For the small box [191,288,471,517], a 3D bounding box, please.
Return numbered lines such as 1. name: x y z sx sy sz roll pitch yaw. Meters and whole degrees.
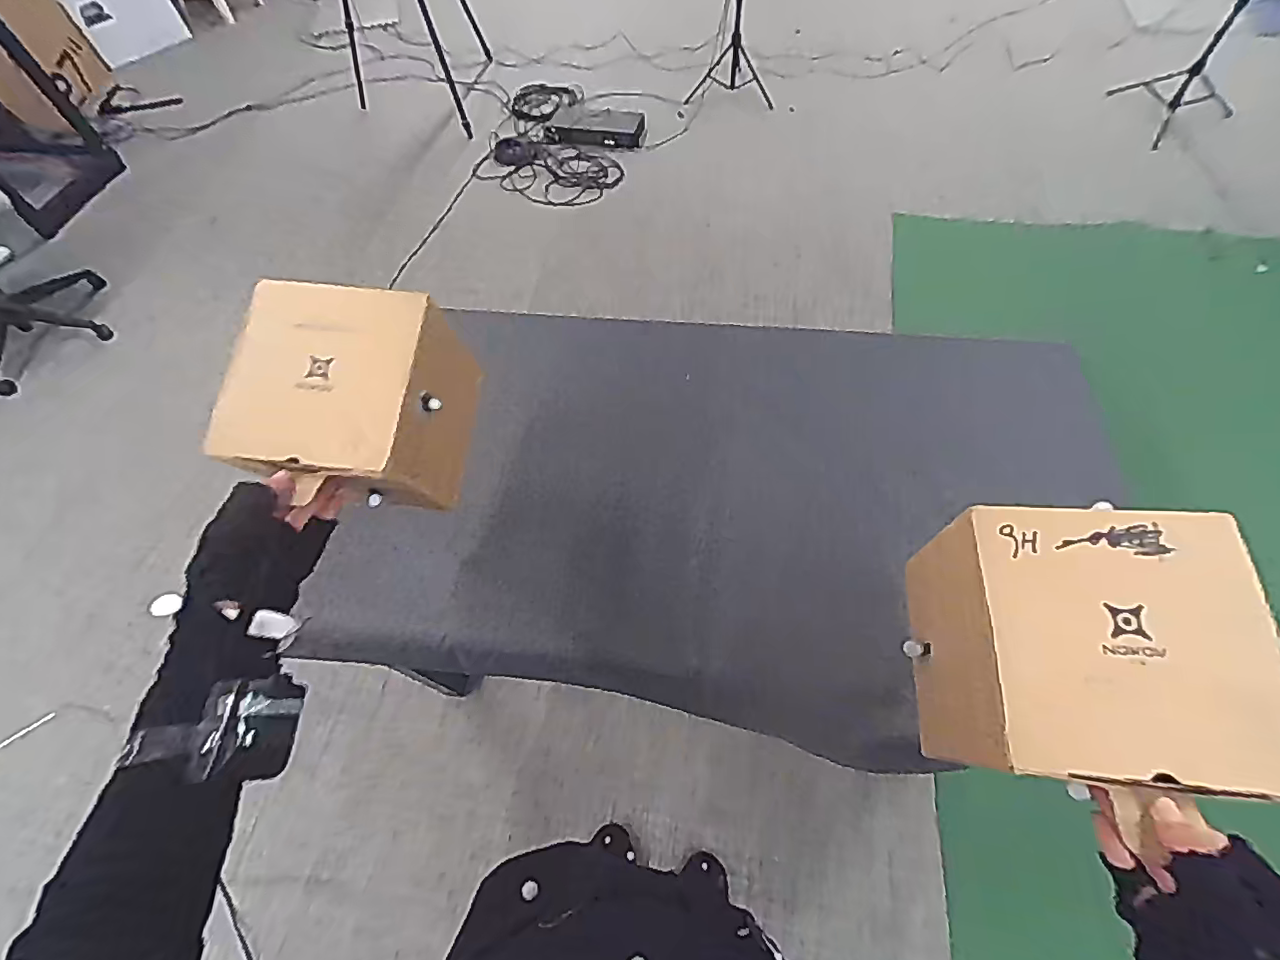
1. small box: -0.287 -0.065 0.548 0.168 0.176 0.179 6 75 2
